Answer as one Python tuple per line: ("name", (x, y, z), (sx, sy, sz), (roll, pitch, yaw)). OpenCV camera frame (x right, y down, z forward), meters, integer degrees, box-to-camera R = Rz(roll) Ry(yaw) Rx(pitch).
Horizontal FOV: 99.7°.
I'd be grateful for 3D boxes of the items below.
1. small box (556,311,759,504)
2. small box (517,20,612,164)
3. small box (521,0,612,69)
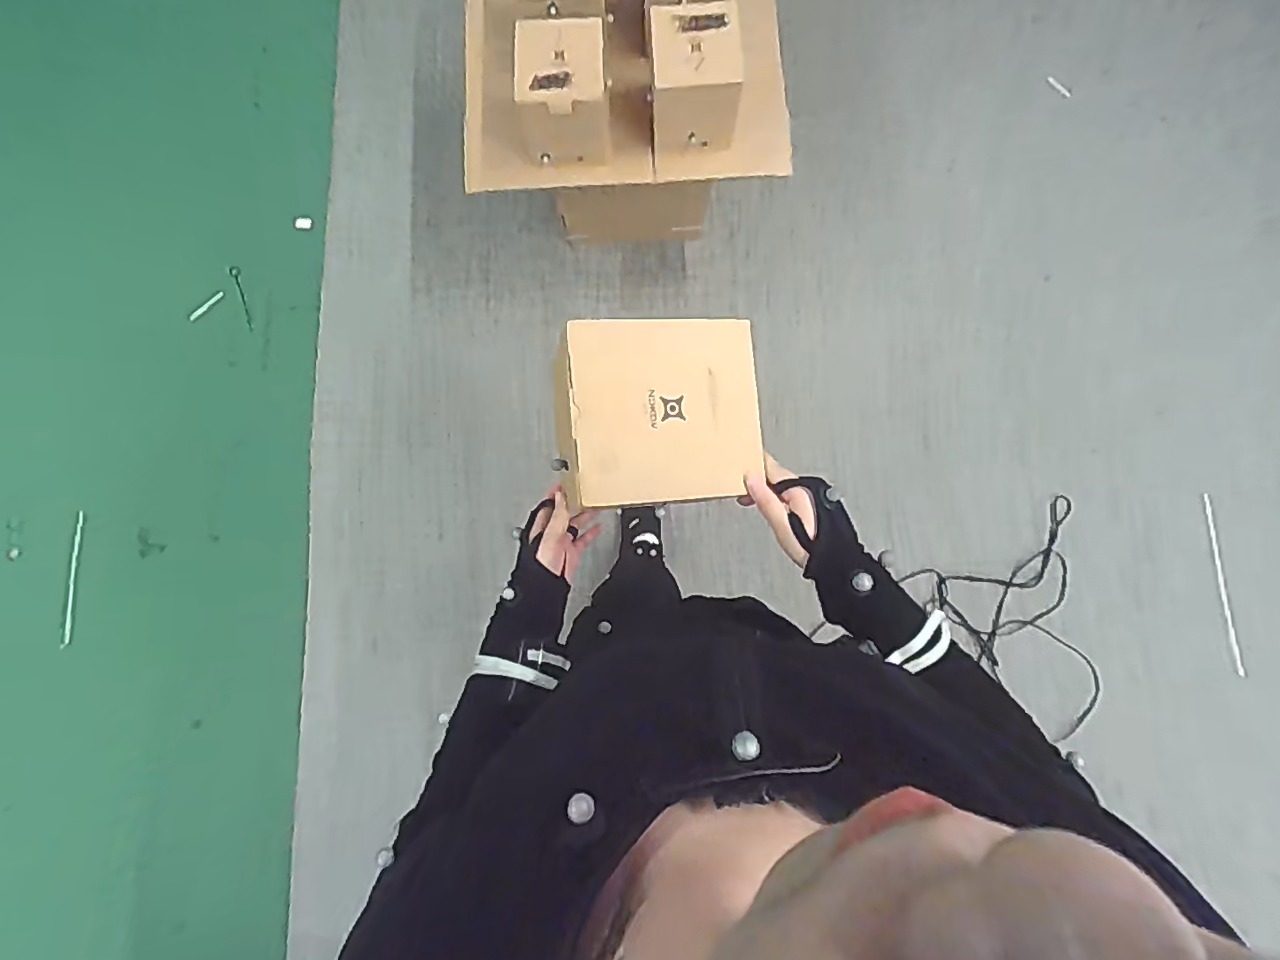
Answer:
("small box", (0.004, -0.064, 0.560), (0.179, 0.176, 0.168), (-3, 86, -12))
("small box", (-0.143, -0.760, 1.079), (0.168, 0.176, 0.179), (-1, 81, 1))
("small box", (-0.149, -0.981, 1.112), (0.168, 0.176, 0.179), (-4, 80, 2))
